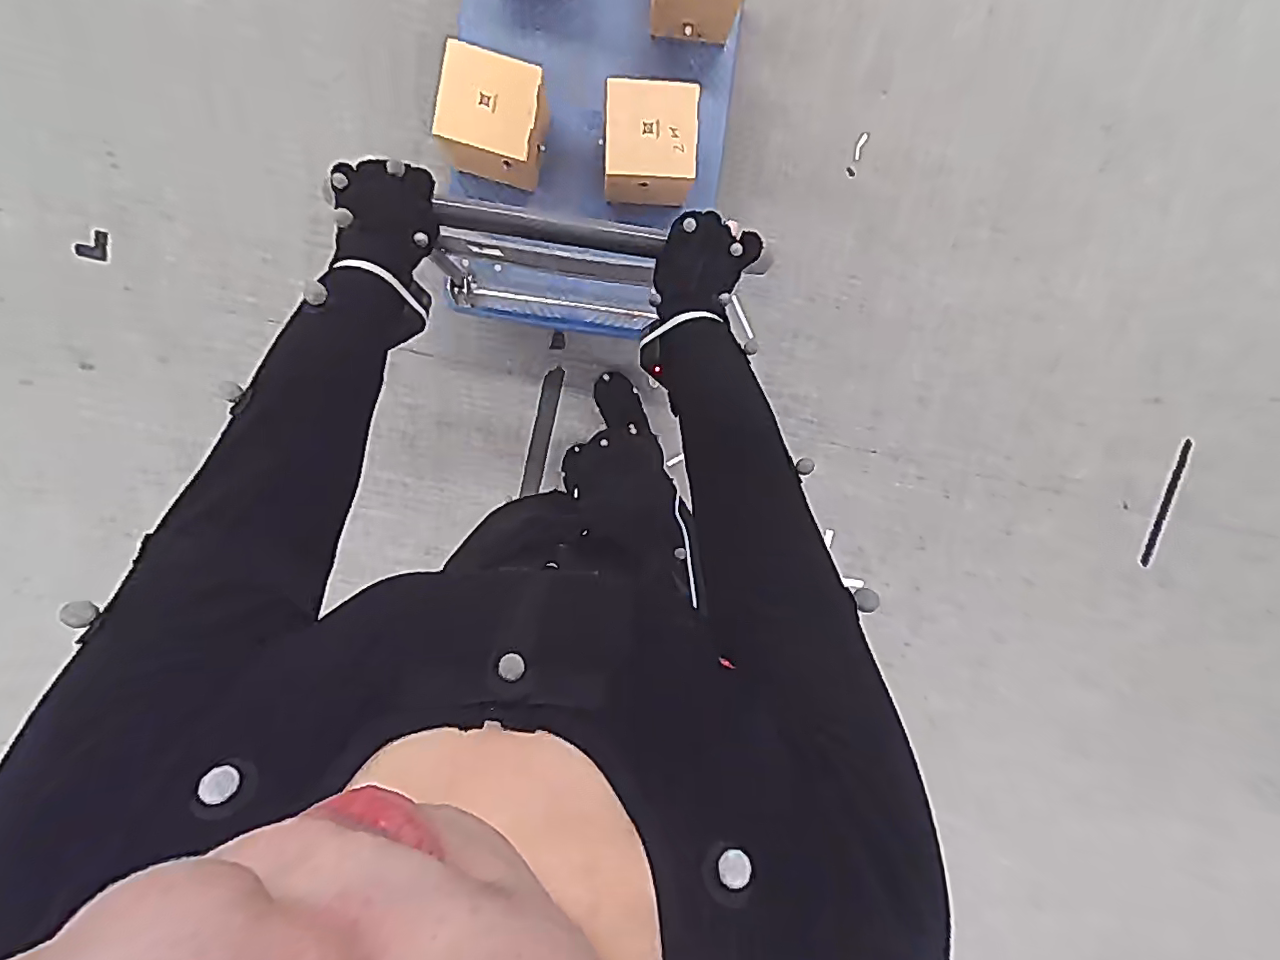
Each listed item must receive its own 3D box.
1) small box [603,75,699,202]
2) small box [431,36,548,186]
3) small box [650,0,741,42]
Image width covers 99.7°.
[{"bbox_3d":[0.015,-0.673,1.086,0.179,0.176,0.168,1,101,-4],"label":"small box"},{"bbox_3d":[-0.286,-0.706,1.058,0.179,0.176,0.168,12,99,-8],"label":"small box"},{"bbox_3d":[0.112,-0.993,1.032,0.168,0.176,0.179,4,102,-5],"label":"small box"}]
